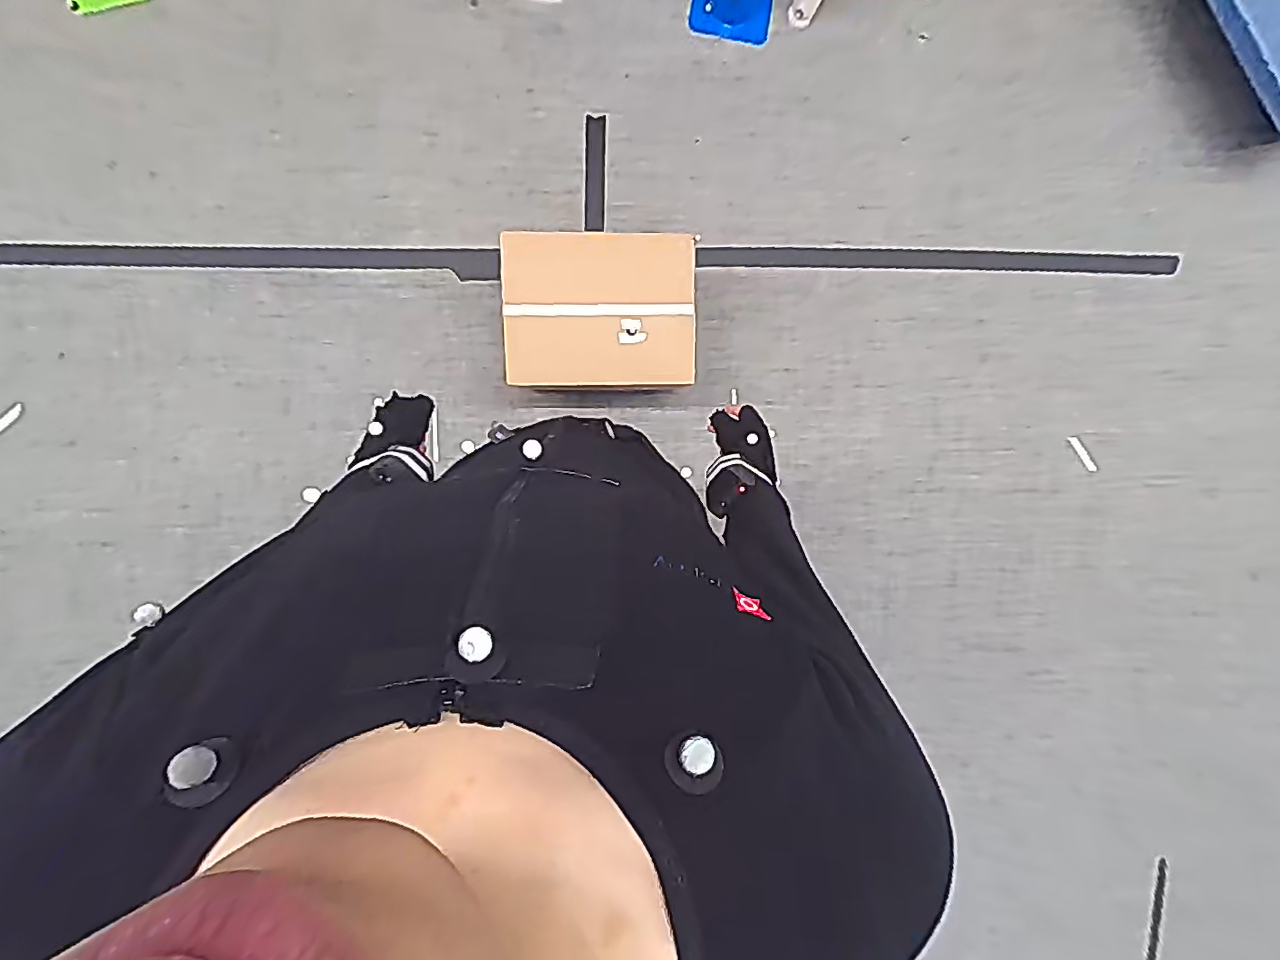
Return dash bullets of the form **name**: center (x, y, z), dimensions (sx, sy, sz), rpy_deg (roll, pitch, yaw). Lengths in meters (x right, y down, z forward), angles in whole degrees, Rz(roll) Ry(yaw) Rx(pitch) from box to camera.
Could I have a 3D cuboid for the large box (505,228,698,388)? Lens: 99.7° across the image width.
- **large box**: center (-0.089, -0.387, 1.286), dimensions (0.408, 0.320, 0.320), rpy_deg (-1, 98, -4)
